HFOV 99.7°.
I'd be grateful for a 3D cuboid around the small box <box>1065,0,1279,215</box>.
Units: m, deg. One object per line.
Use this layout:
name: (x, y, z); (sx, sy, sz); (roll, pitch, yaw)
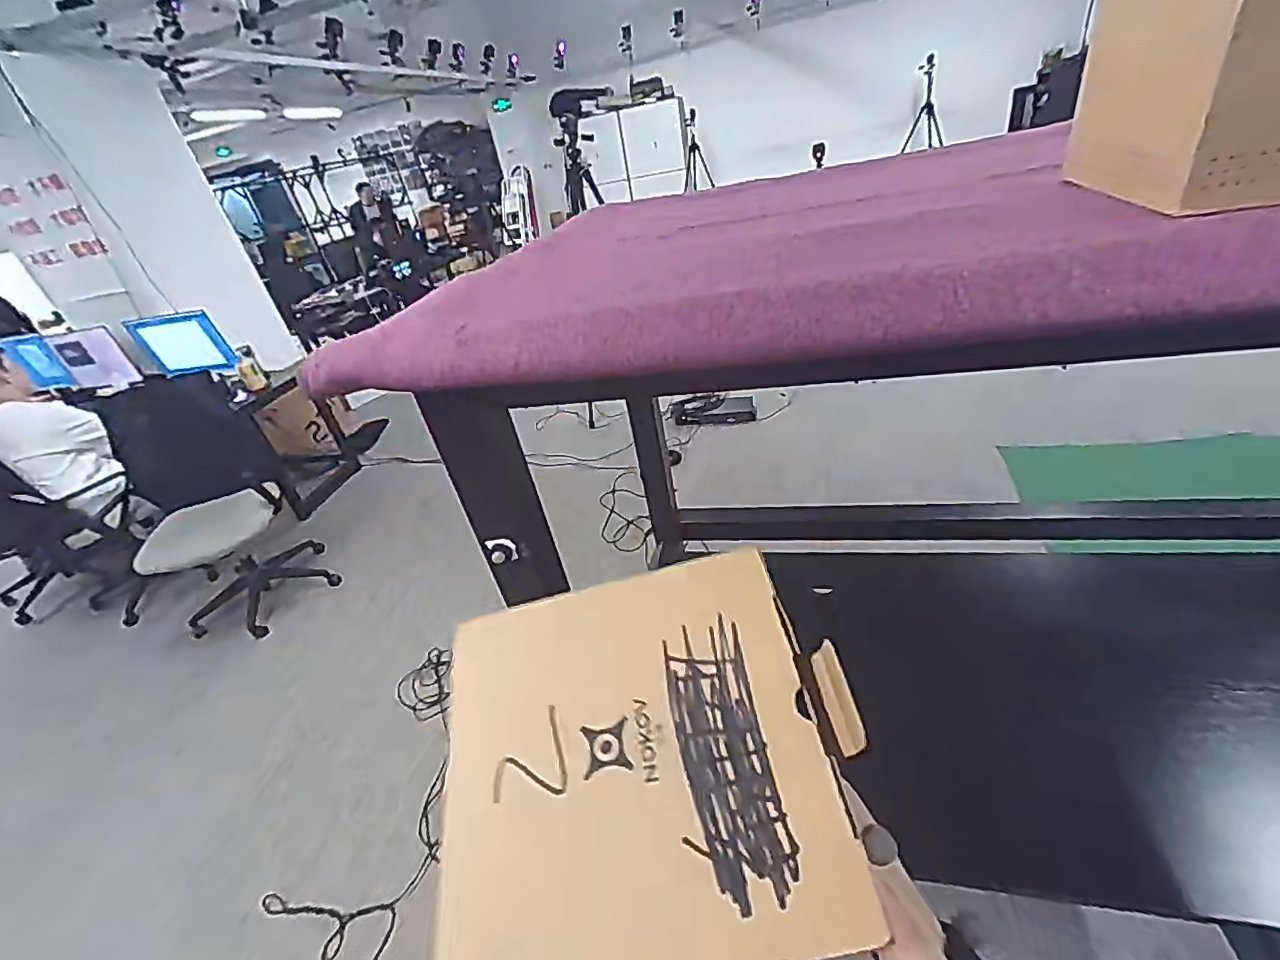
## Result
small box: (0.375, -0.254, 0.296); (0.168, 0.176, 0.179); (0, 35, 17)
